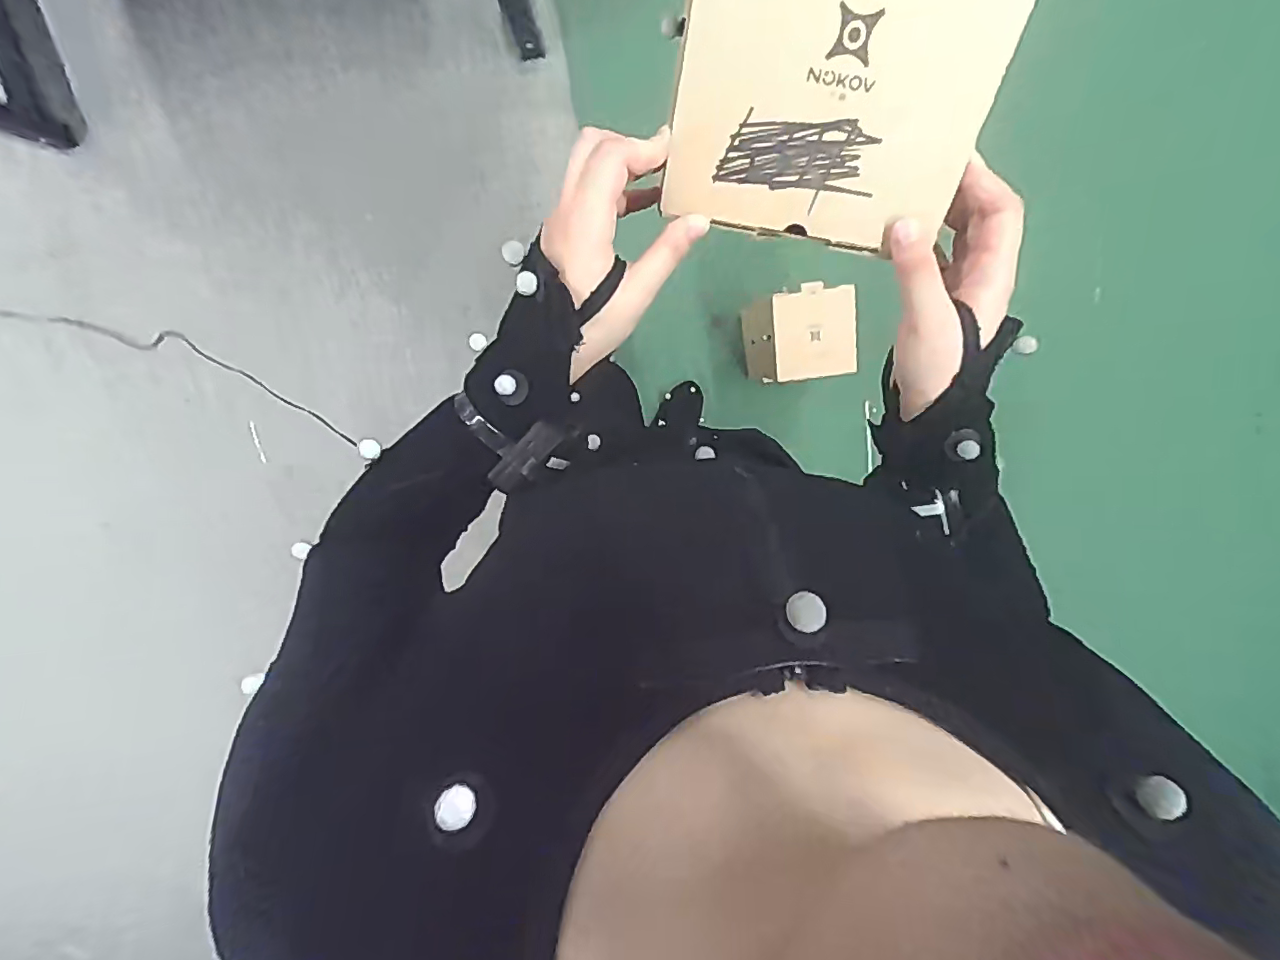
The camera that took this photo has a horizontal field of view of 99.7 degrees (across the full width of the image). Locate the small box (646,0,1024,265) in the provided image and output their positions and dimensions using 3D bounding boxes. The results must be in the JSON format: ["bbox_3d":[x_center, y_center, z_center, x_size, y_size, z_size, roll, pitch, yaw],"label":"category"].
[{"bbox_3d":[0.099,-0.254,0.342,0.168,0.176,0.179,8,122,-3],"label":"small box"}]

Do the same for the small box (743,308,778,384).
[{"bbox_3d":[0.355,-0.339,1.324,0.168,0.176,0.179,-9,105,3],"label":"small box"}]

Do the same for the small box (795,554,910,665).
[{"bbox_3d":[0.444,0.268,1.152,0.179,0.176,0.168,-5,107,0],"label":"small box"}]

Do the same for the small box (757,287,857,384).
[{"bbox_3d":[0.353,-0.309,1.164,0.168,0.176,0.179,-7,106,2],"label":"small box"}]
